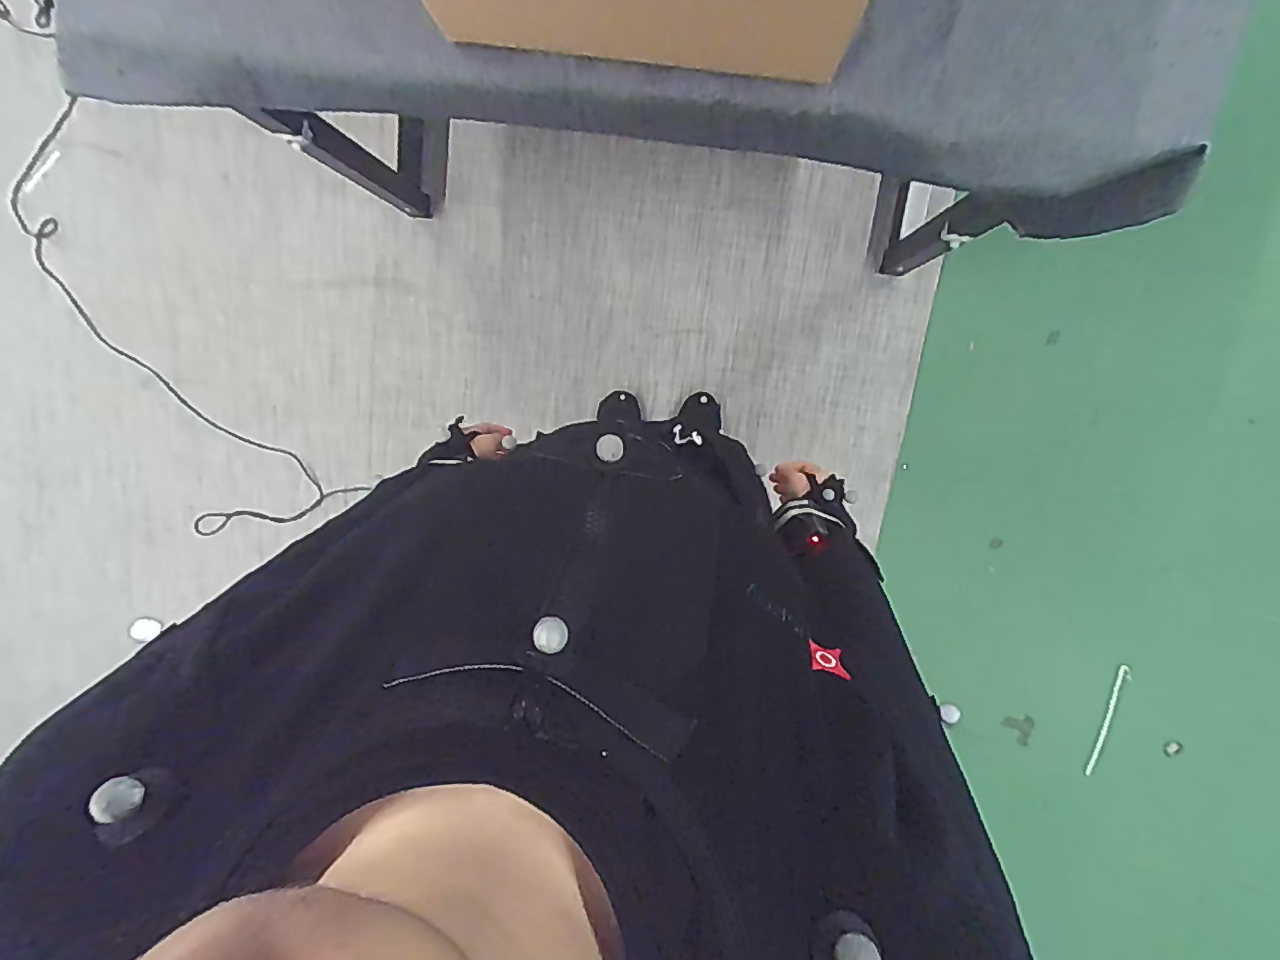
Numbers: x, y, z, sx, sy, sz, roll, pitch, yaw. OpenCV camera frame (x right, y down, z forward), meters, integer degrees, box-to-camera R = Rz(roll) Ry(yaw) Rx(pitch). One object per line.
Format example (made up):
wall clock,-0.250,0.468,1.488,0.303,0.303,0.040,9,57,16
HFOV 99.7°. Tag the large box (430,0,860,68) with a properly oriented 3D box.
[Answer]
large box,0.004,-0.564,0.386,0.408,0.320,0.320,8,99,2
